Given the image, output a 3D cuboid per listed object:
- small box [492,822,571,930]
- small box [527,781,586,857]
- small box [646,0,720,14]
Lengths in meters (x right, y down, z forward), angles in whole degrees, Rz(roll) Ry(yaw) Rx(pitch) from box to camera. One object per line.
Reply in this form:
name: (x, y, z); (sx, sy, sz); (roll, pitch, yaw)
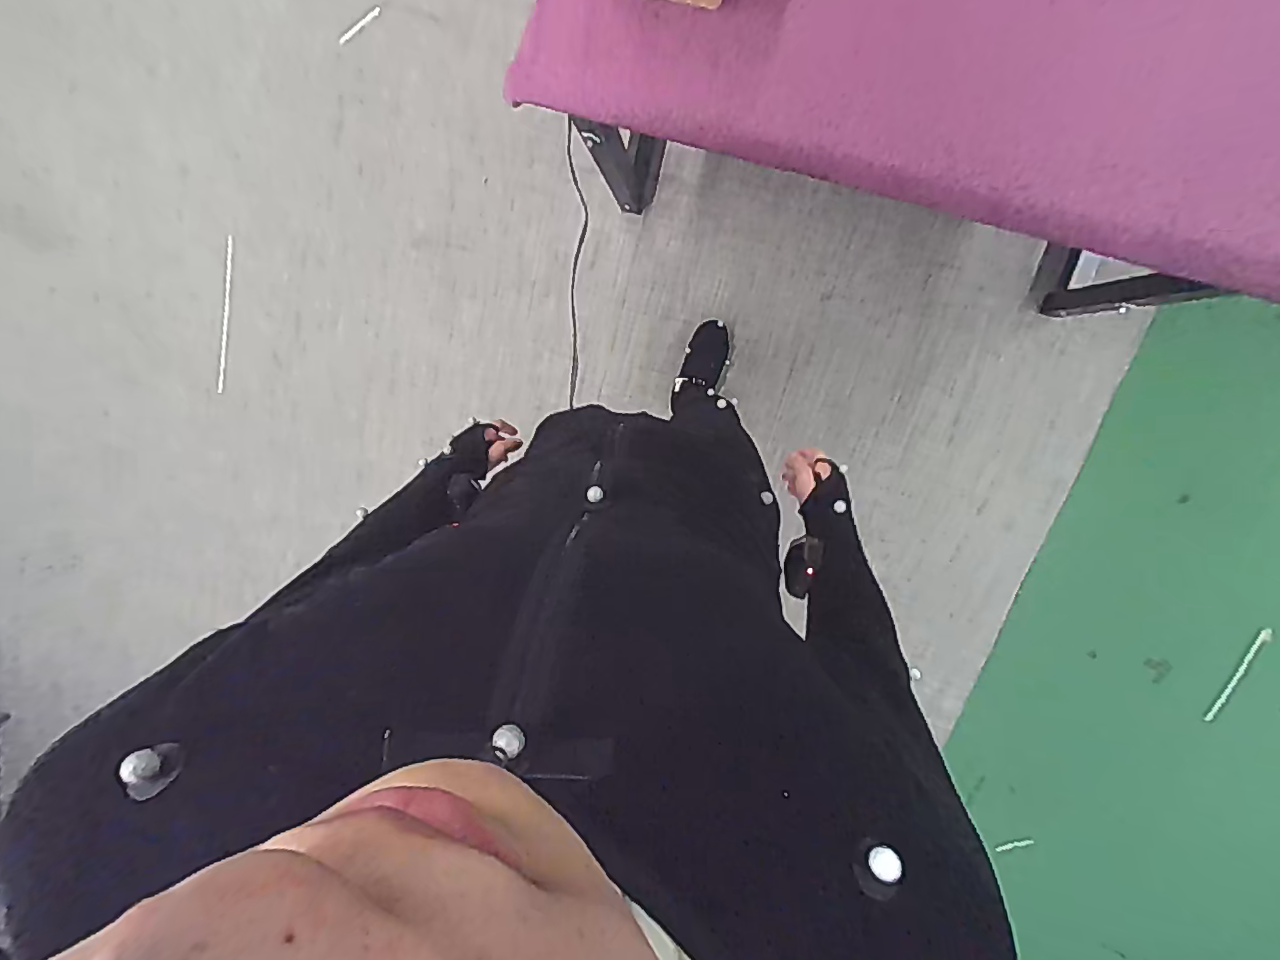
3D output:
small box: (-0.314, 1.169, 1.608); (0.168, 0.176, 0.179); (21, 105, 1)
small box: (-0.288, 1.135, 1.766); (0.168, 0.176, 0.179); (21, 104, 1)
small box: (0.036, -0.707, 0.629); (0.168, 0.176, 0.179); (15, 103, 4)
